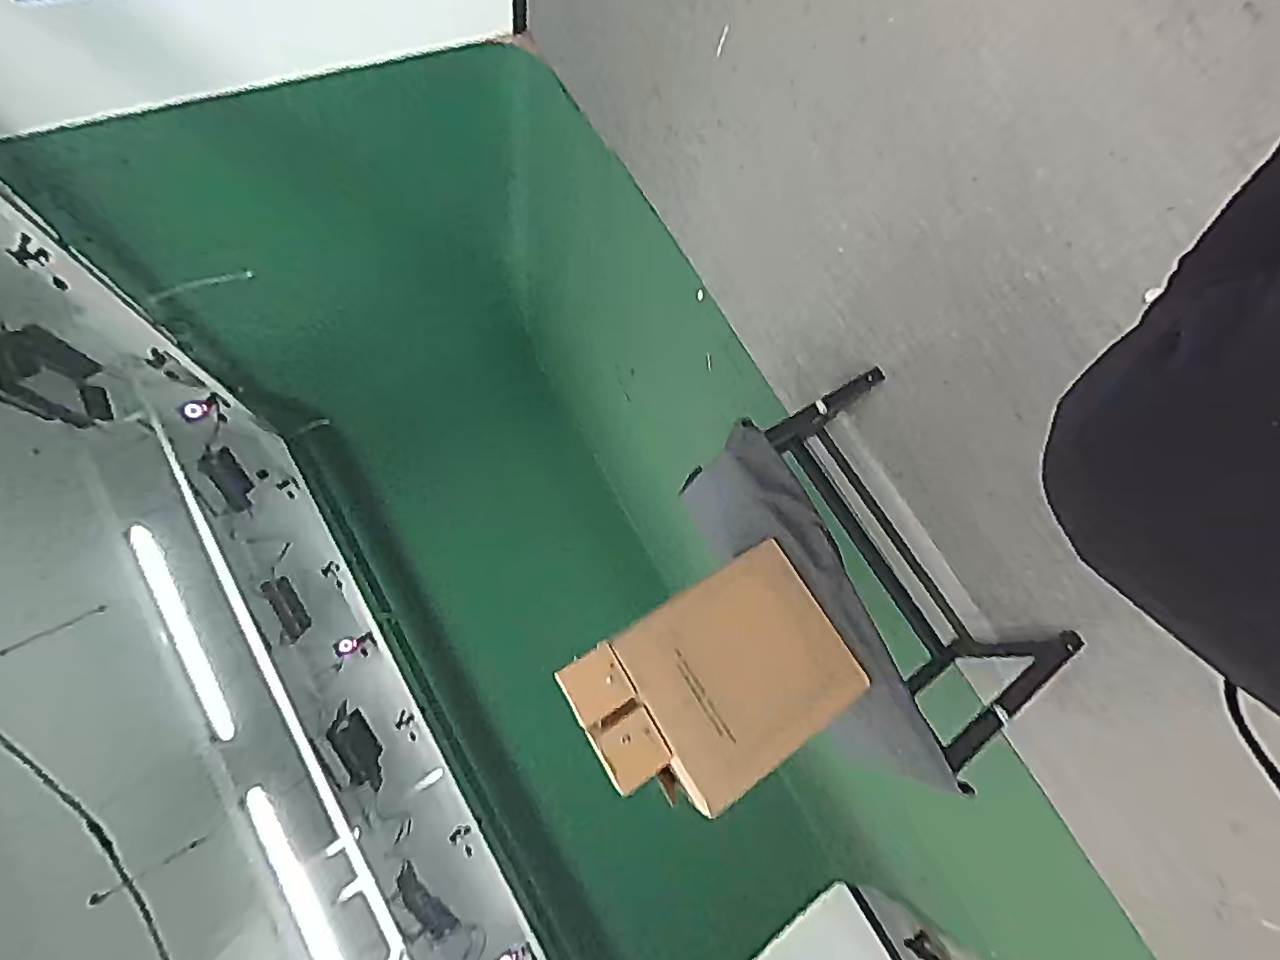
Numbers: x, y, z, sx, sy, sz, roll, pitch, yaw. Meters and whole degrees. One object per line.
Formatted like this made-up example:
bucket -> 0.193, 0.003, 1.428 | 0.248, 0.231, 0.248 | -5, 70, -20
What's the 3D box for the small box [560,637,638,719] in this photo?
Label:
small box -> -0.124, 0.584, 1.609 | 0.168, 0.176, 0.179 | 59, 161, 11
